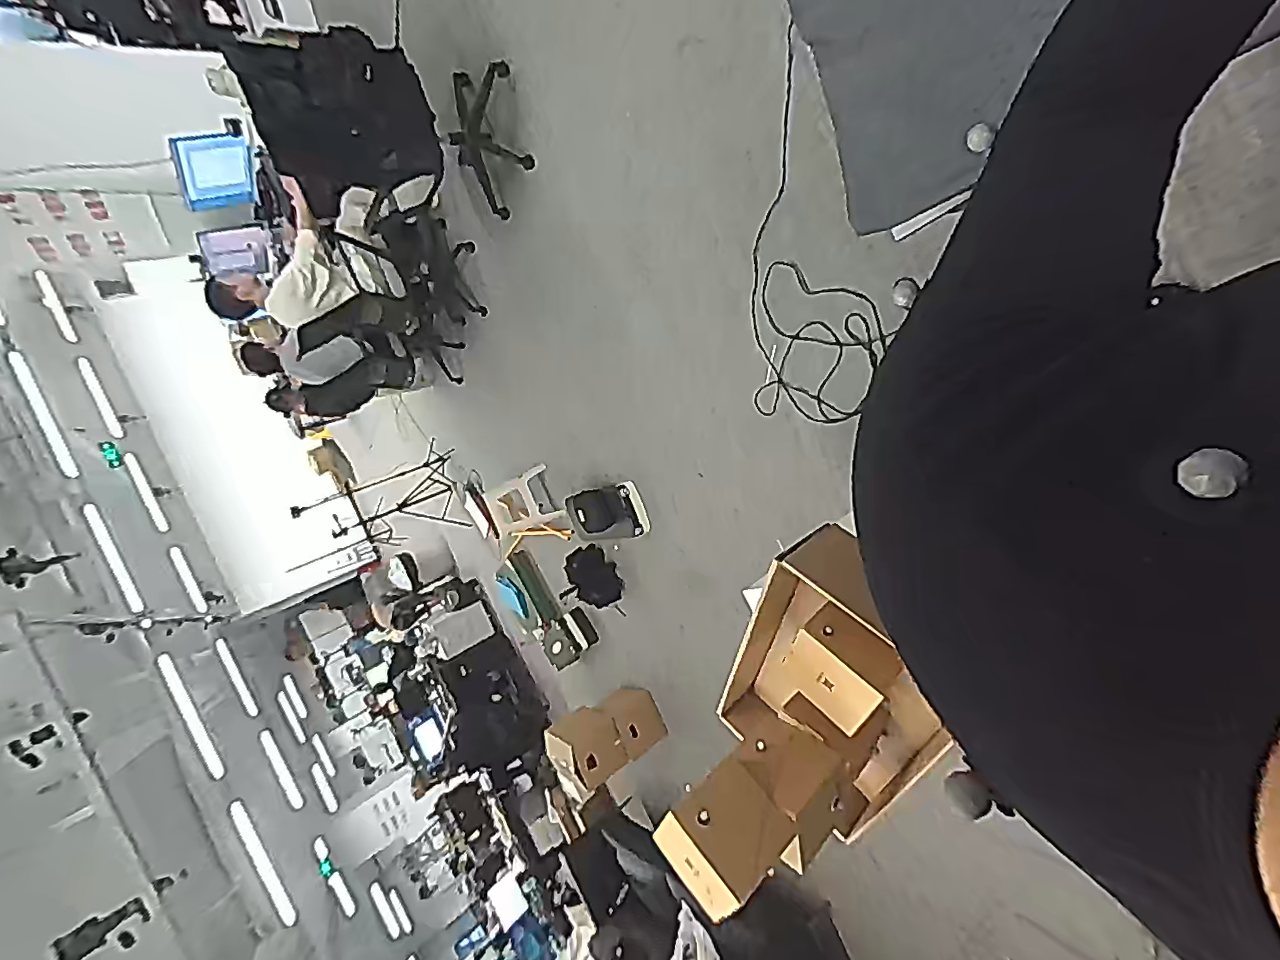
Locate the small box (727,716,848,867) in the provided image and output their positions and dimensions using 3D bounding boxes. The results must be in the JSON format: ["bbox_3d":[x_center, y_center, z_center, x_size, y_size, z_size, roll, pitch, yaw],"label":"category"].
[{"bbox_3d":[0.300,0.618,1.103,0.179,0.176,0.168,12,121,47],"label":"small box"}]

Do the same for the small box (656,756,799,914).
[{"bbox_3d":[0.161,0.656,1.018,0.179,0.176,0.168,42,140,28],"label":"small box"}]
